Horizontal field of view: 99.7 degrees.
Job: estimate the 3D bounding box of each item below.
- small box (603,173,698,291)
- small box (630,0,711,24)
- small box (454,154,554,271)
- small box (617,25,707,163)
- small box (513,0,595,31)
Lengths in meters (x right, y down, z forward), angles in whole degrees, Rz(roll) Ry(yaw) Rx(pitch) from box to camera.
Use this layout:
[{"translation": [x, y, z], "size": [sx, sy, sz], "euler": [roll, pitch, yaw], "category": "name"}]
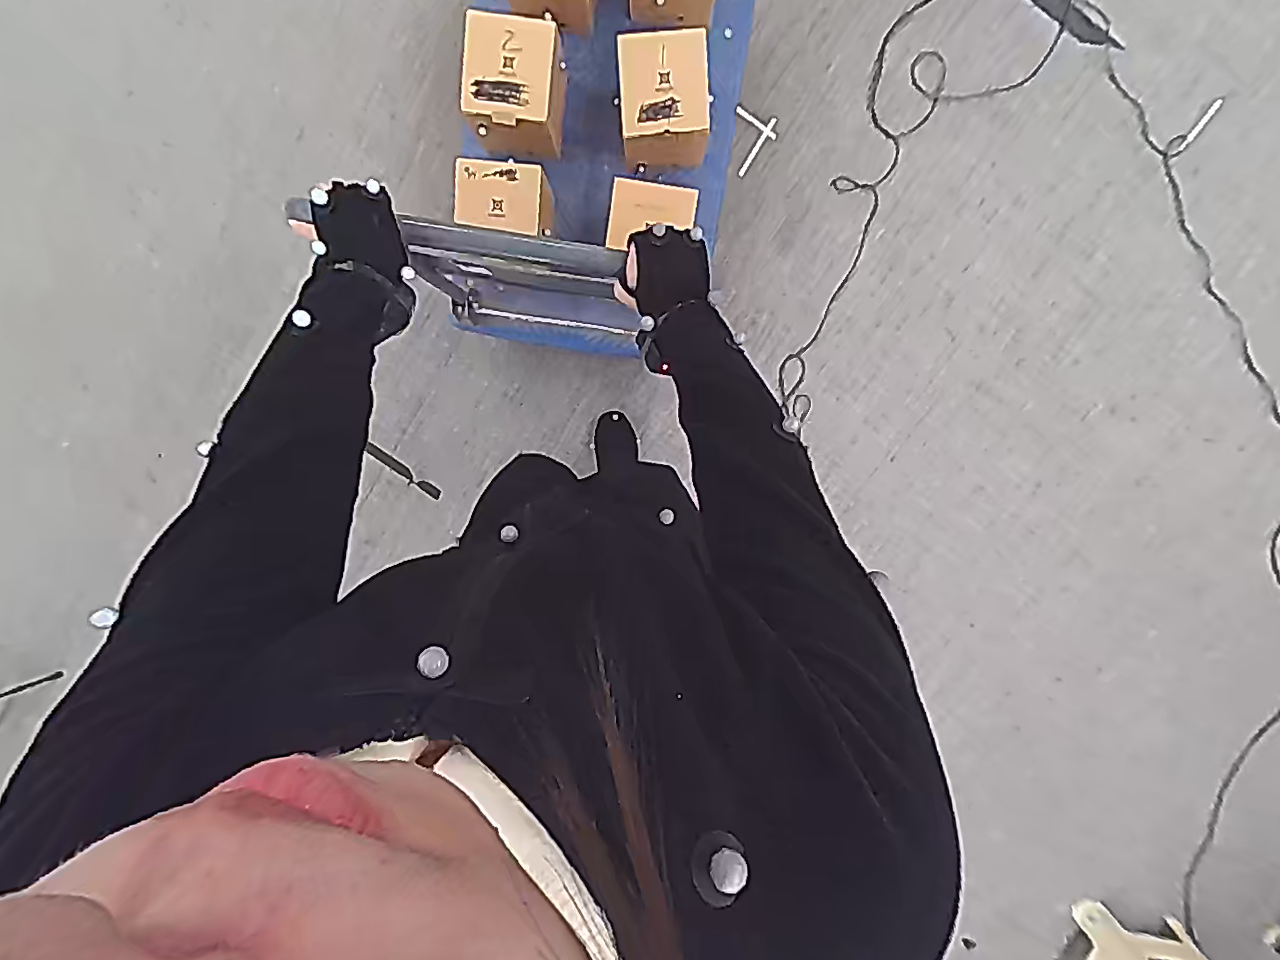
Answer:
[{"translation": [0.020, -0.506, 1.130], "size": [0.168, 0.176, 0.179], "euler": [9, 99, -2], "category": "small box"}, {"translation": [0.067, -1.027, 1.038], "size": [0.168, 0.176, 0.179], "euler": [5, 100, 0], "category": "small box"}, {"translation": [-0.276, -0.543, 1.123], "size": [0.168, 0.176, 0.179], "euler": [5, 100, -1], "category": "small box"}, {"translation": [0.044, -0.759, 1.084], "size": [0.168, 0.176, 0.179], "euler": [-3, 99, 1], "category": "small box"}, {"translation": [-0.169, -1.023, 1.037], "size": [0.168, 0.176, 0.179], "euler": [10, 101, -1], "category": "small box"}]
